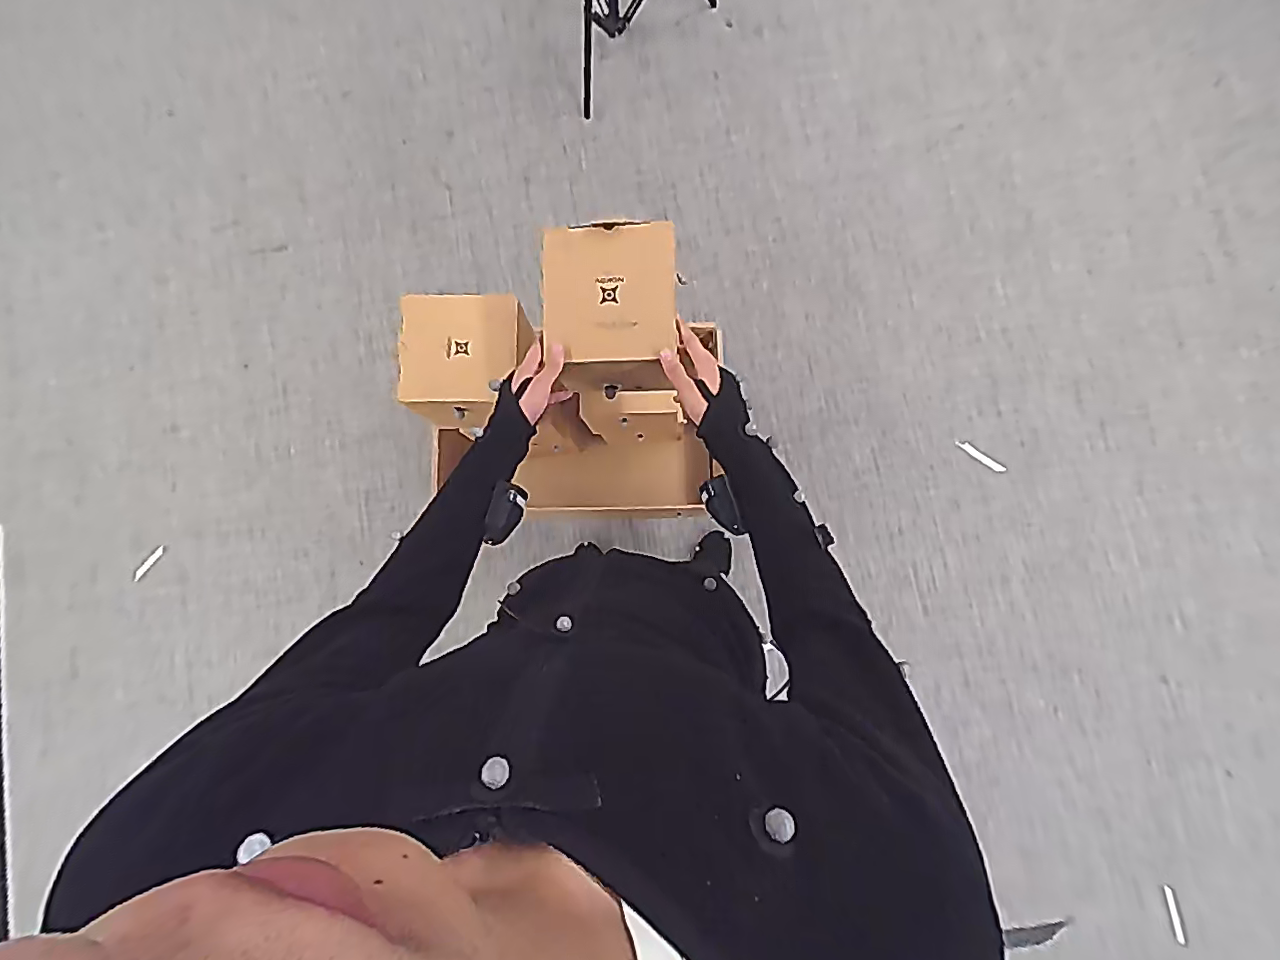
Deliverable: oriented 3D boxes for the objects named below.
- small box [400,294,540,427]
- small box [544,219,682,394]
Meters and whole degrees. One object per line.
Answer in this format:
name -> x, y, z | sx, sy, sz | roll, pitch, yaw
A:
small box -> -0.261, -0.184, 0.870 | 0.179, 0.176, 0.168 | 0, 83, 1
small box -> -0.028, -0.224, 0.736 | 0.168, 0.176, 0.179 | -1, 85, 6
